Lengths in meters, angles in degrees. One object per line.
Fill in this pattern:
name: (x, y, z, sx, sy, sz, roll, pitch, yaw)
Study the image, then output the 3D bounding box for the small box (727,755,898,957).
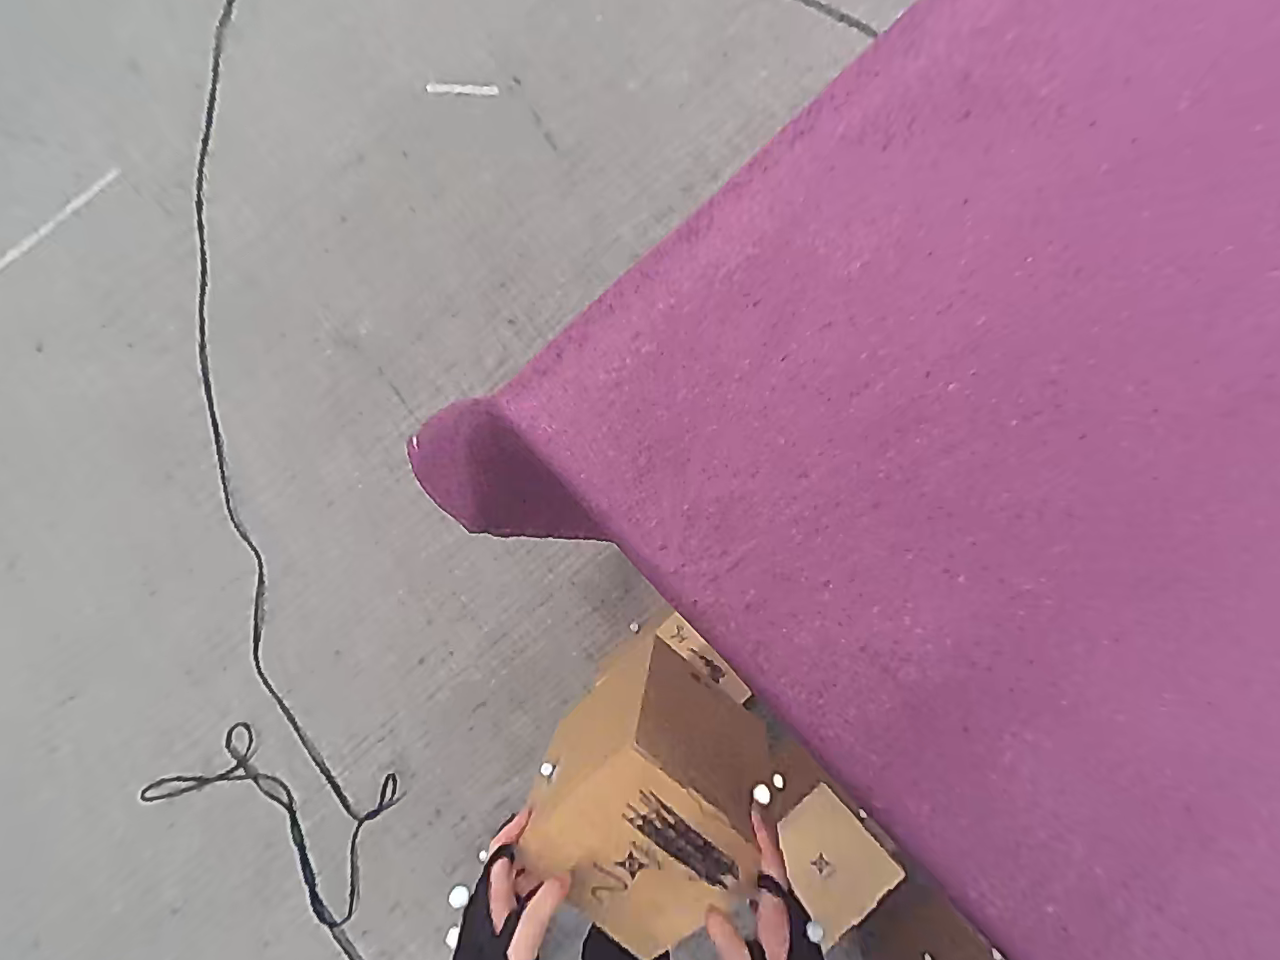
small box: (0.258, 0.572, 0.859, 0.168, 0.176, 0.179, -42, 85, -2)
